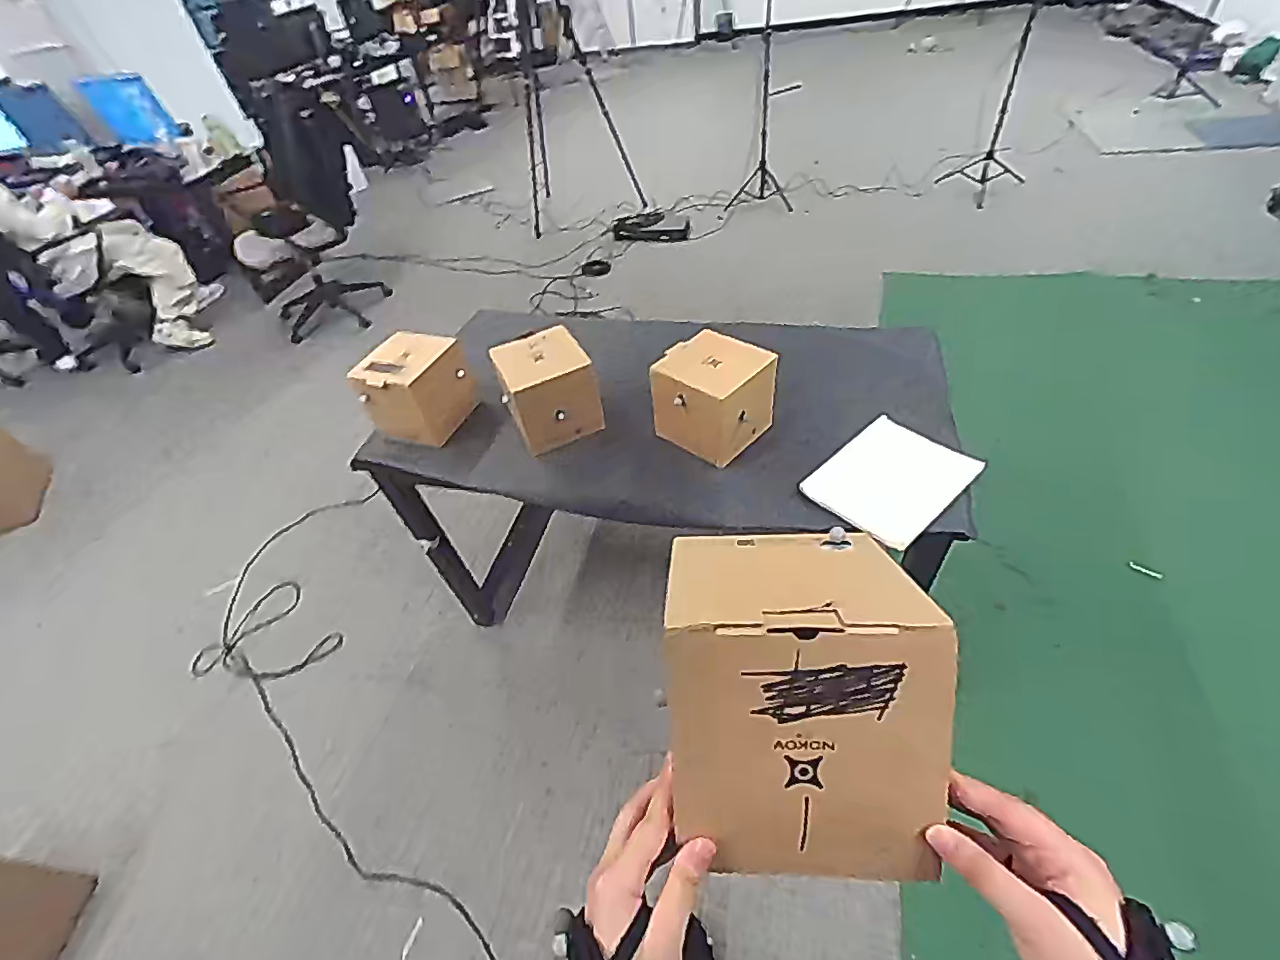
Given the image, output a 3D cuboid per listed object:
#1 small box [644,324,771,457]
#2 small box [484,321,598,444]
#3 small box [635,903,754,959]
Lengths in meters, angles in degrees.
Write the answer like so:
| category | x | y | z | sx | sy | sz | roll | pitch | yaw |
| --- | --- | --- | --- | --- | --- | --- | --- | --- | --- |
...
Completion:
| category | x | y | z | sx | sy | sz | roll | pitch | yaw |
| --- | --- | --- | --- | --- | --- | --- | --- | --- | --- |
| small box | 0.133 | -0.169 | 1.045 | 0.179 | 0.176 | 0.168 | 31 | 58 | 33 |
| small box | -0.201 | -0.196 | 1.125 | 0.168 | 0.176 | 0.179 | -23 | 48 | -14 |
| small box | 0.105 | 0.935 | 1.001 | 0.176 | 0.168 | 0.179 | 50 | 44 | 7 |
